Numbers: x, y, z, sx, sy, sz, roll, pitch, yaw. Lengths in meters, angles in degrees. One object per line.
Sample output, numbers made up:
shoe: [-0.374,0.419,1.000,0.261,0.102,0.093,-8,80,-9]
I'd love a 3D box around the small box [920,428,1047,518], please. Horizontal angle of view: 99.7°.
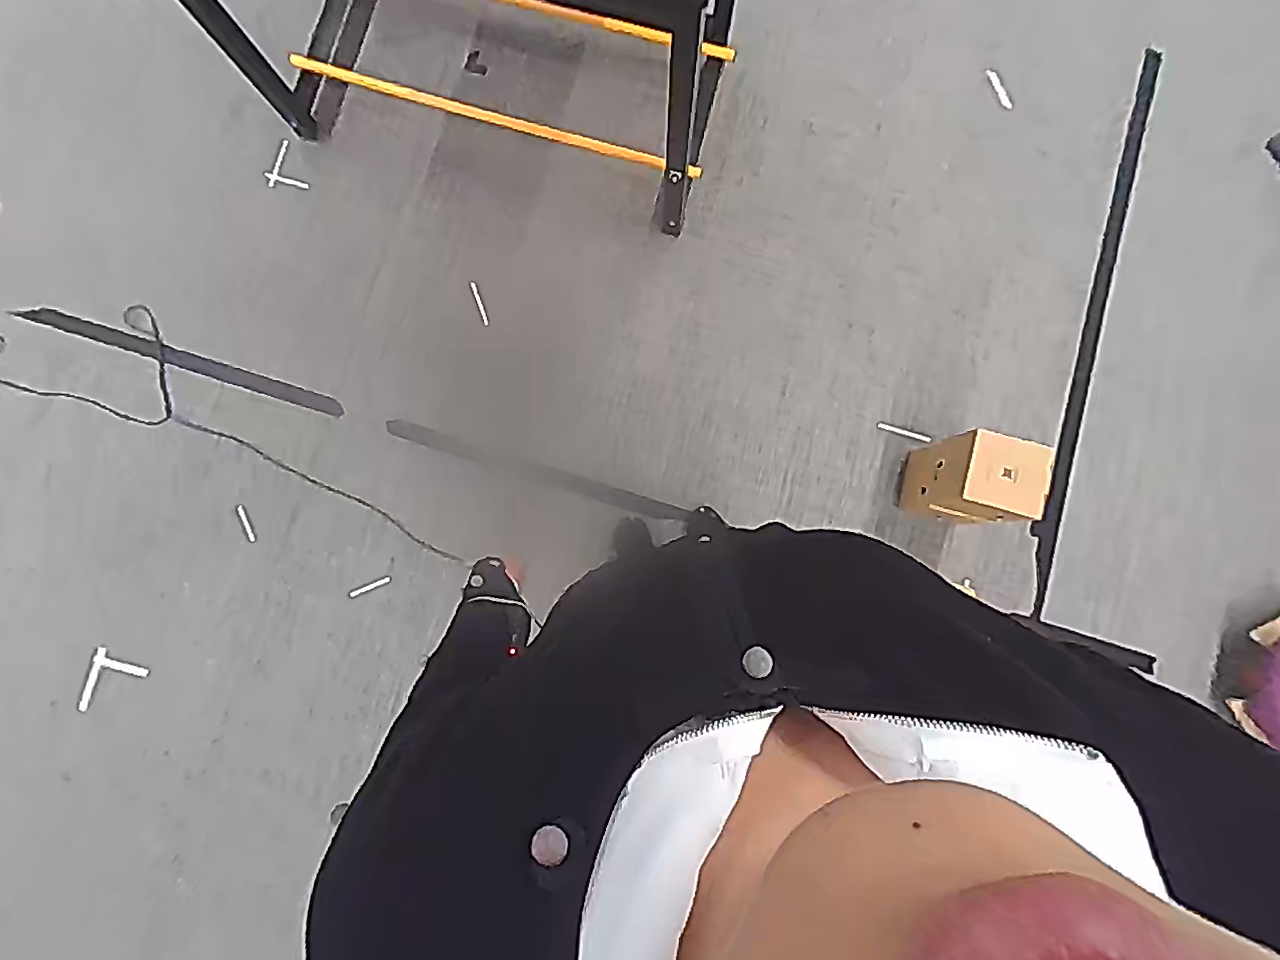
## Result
small box: [0.801,-0.010,1.275,0.179,0.176,0.168,15,84,3]

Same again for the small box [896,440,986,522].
small box: [0.806,0.008,1.436,0.168,0.176,0.179,15,85,1]
